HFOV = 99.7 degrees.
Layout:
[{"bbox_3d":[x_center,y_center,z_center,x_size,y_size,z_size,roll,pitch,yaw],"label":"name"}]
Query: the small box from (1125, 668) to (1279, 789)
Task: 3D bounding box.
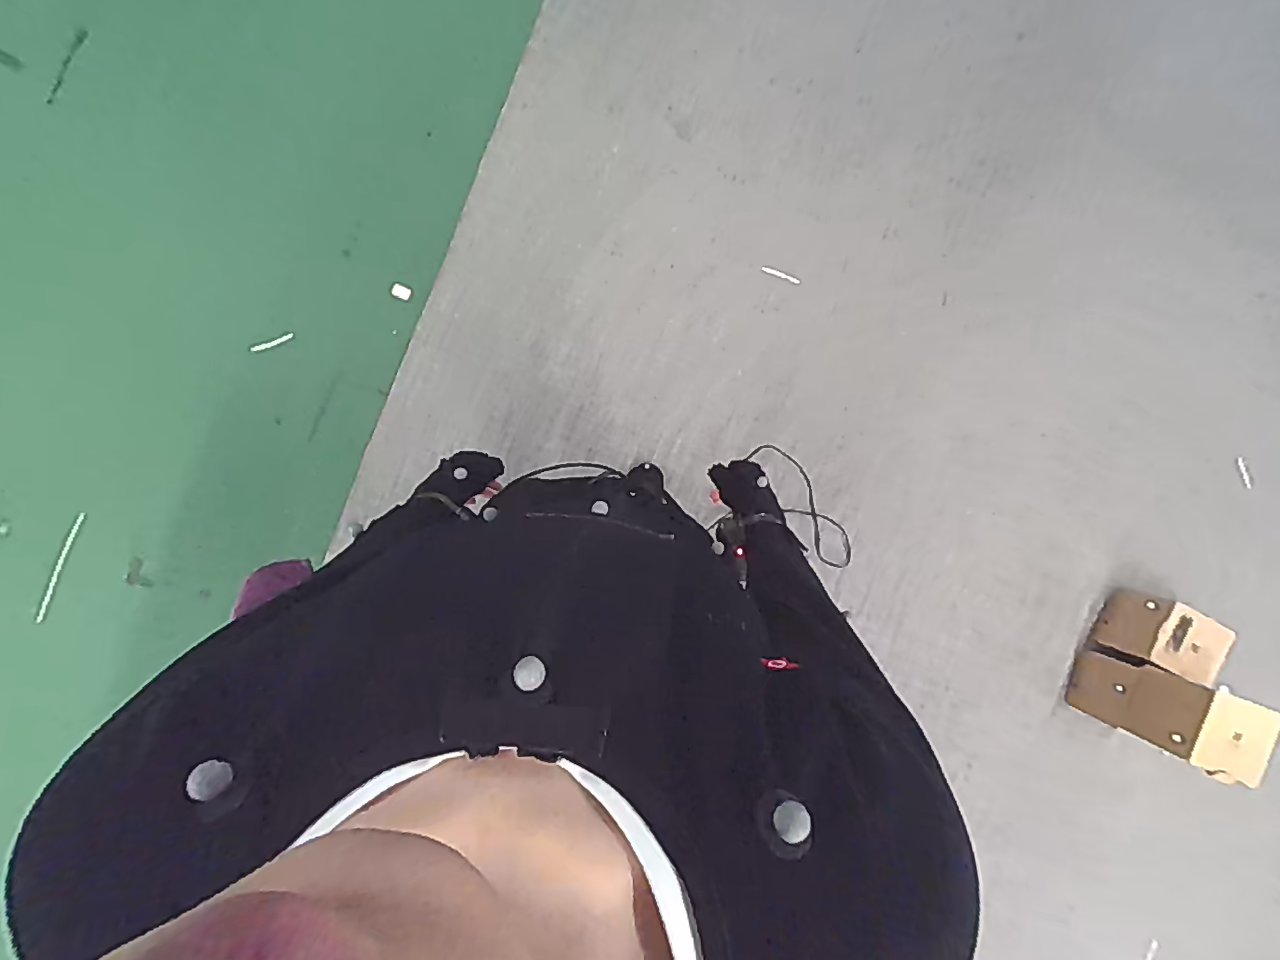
[{"bbox_3d":[1.292,0.565,1.256,0.168,0.176,0.179,20,89,-1],"label":"small box"}]
